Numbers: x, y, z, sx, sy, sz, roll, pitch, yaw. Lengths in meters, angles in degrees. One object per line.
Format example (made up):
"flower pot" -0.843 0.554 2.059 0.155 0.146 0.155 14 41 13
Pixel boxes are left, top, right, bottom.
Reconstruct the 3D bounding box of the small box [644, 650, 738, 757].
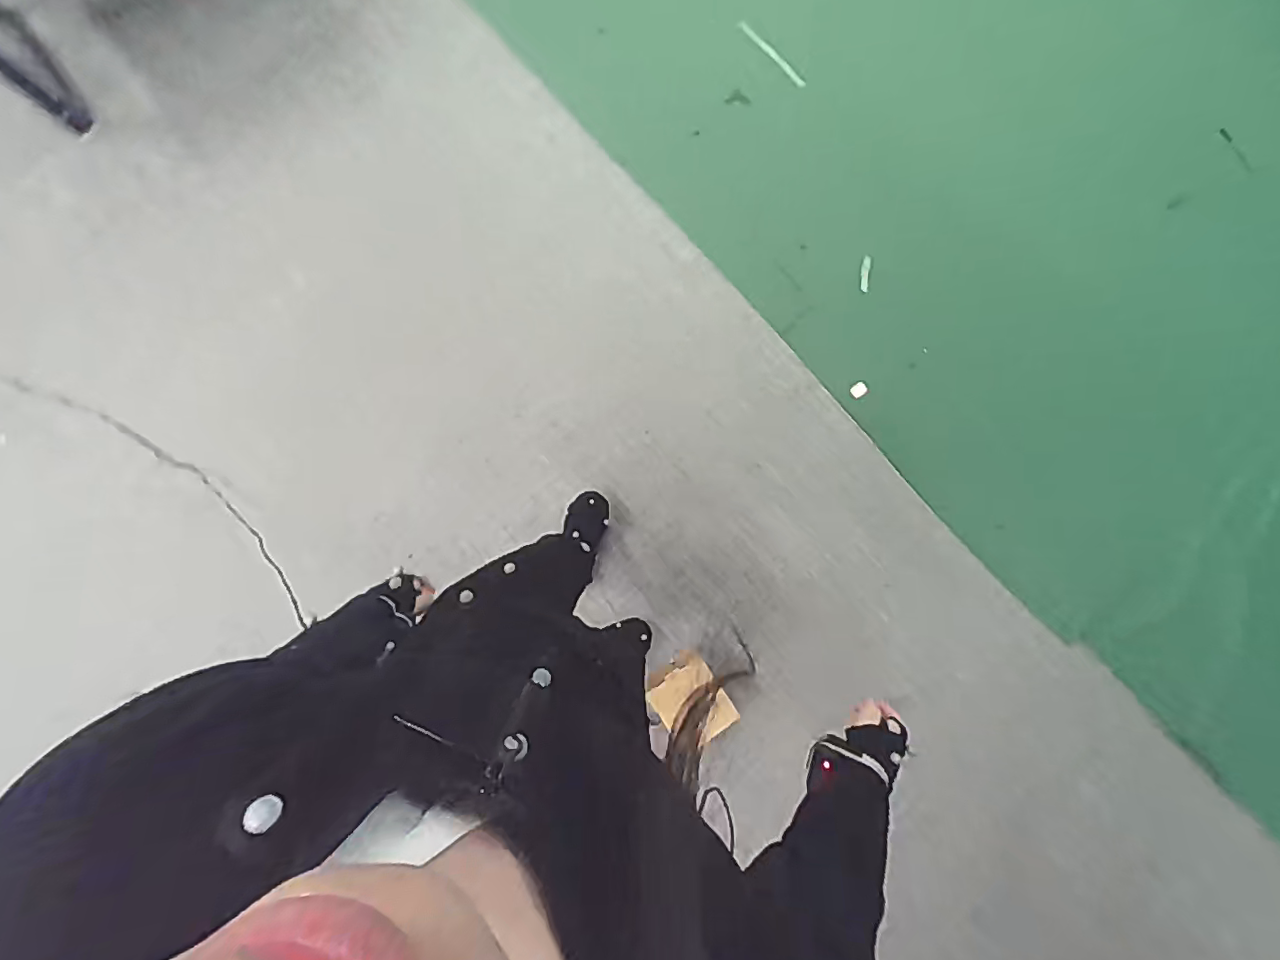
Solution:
"small box" 0.123 0.558 1.379 0.168 0.176 0.179 -34 82 -7
